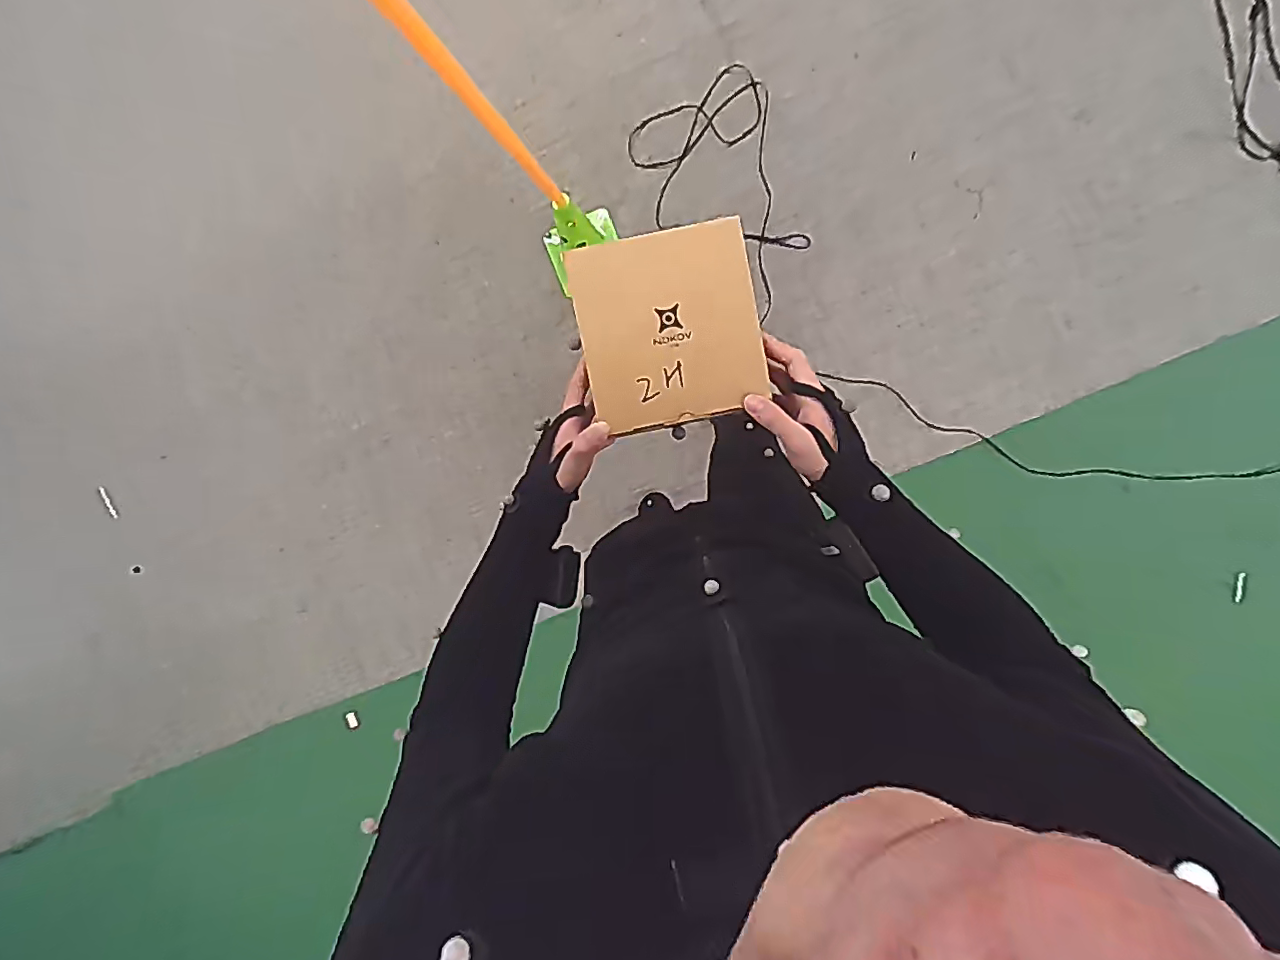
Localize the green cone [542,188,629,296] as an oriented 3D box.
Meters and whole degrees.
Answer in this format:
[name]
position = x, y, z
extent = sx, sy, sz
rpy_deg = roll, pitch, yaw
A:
[green cone]
position = -0.160, -0.625, 1.350
extent = 0.202, 0.368, 0.200
rpy_deg = -22, 94, 4
